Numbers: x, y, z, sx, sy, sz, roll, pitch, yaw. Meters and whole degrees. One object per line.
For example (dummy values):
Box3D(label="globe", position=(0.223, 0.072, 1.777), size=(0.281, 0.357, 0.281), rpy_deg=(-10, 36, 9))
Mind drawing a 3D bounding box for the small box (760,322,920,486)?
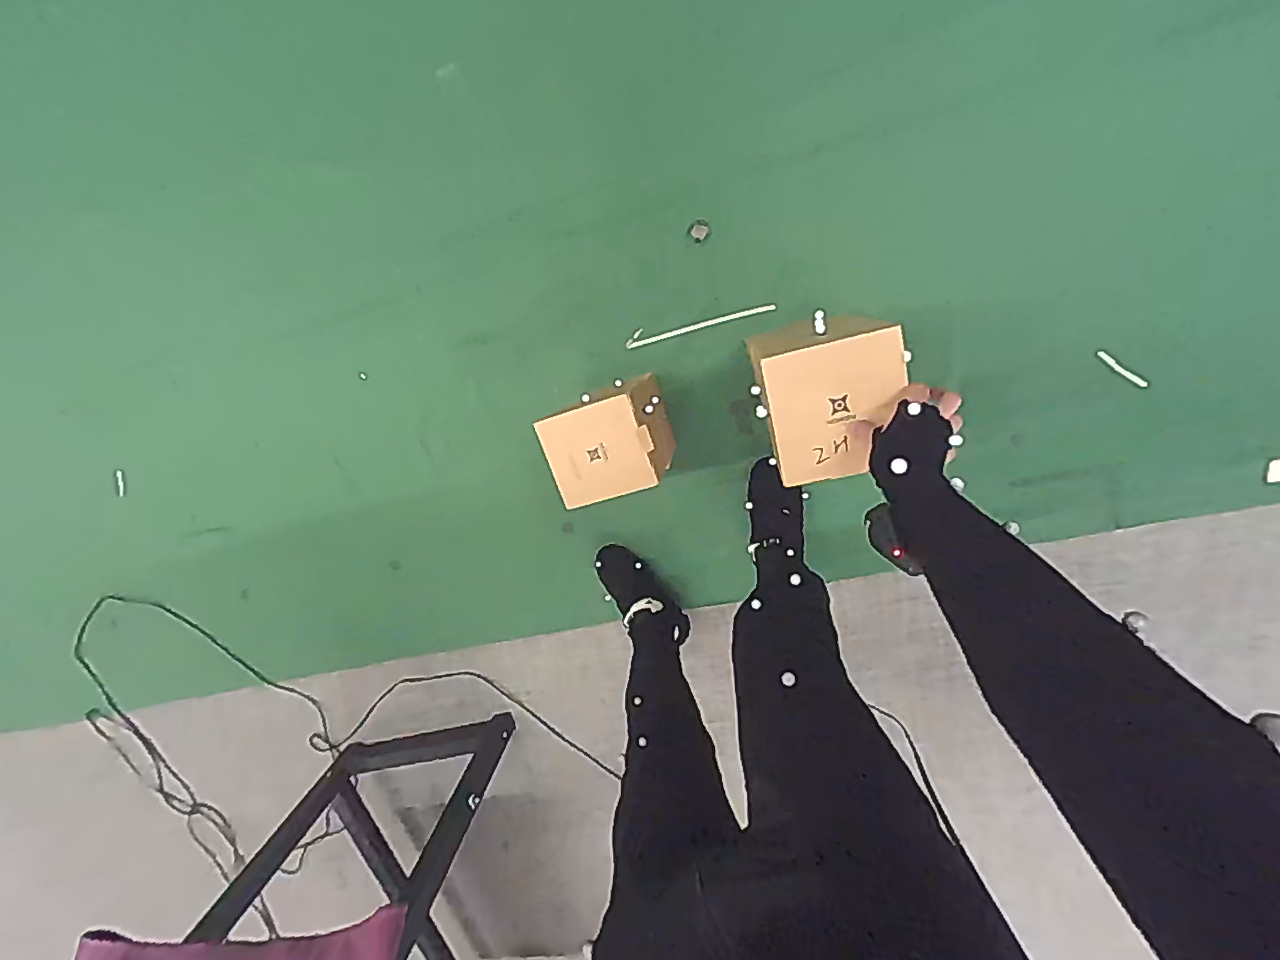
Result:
Box3D(label="small box", position=(0.262, -0.112, 0.739), size=(0.168, 0.176, 0.179), rpy_deg=(-11, 108, 13))

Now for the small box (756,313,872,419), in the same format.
Box3D(label="small box", position=(0.291, -0.165, 0.892), size=(0.168, 0.176, 0.179), rpy_deg=(-13, 107, 12))

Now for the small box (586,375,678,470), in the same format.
Box3D(label="small box", position=(-0.024, -0.108, 1.139), size=(0.168, 0.176, 0.179), rpy_deg=(-15, 105, 14))

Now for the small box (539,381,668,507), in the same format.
Box3D(label="small box", position=(-0.053, -0.071, 0.983), size=(0.179, 0.176, 0.168), rpy_deg=(-15, 104, 15))
